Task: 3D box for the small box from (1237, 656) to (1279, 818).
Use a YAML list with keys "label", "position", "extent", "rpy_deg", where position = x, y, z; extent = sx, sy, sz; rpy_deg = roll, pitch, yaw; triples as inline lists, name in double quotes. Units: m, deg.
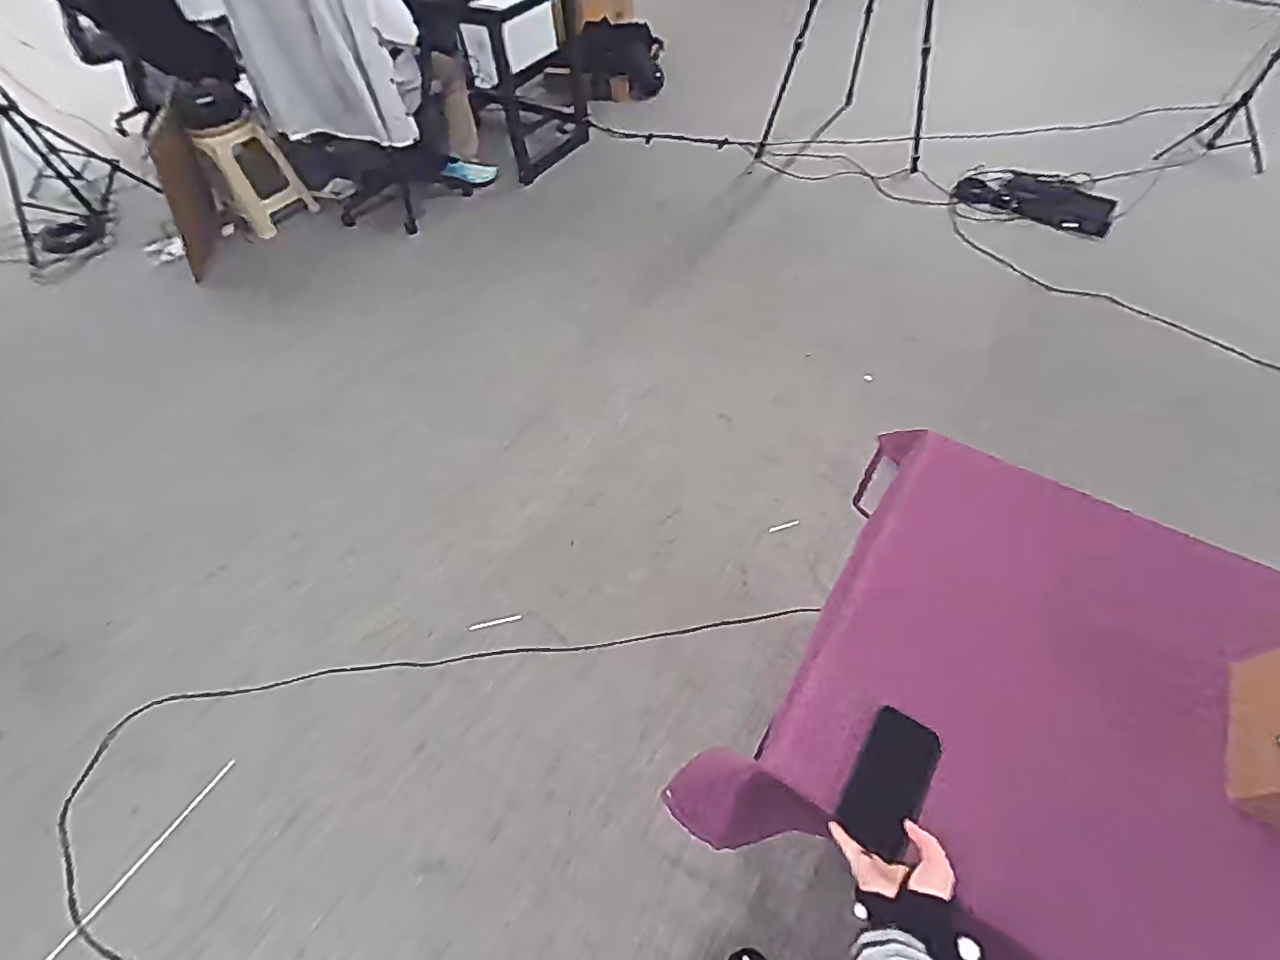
- label: "small box"
  position: [0.751, 0.276, 0.528]
  extent: [0.168, 0.176, 0.179]
  rpy_deg: [27, 61, 21]
